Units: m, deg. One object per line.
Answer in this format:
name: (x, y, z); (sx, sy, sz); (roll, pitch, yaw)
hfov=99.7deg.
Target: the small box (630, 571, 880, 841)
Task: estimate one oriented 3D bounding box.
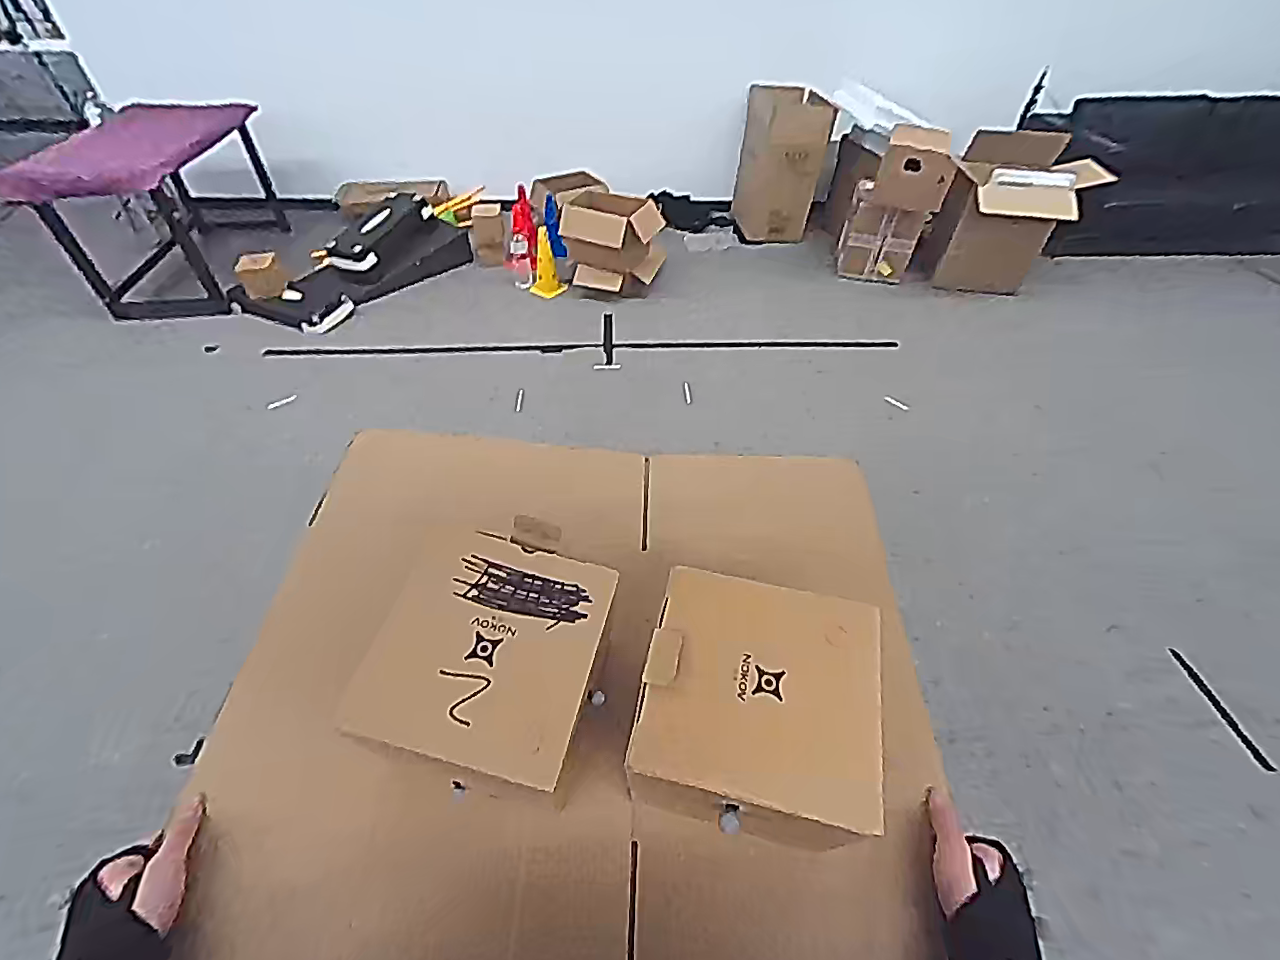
small box: (0.099, 0.207, 0.486); (0.179, 0.176, 0.168); (10, 54, 11)
